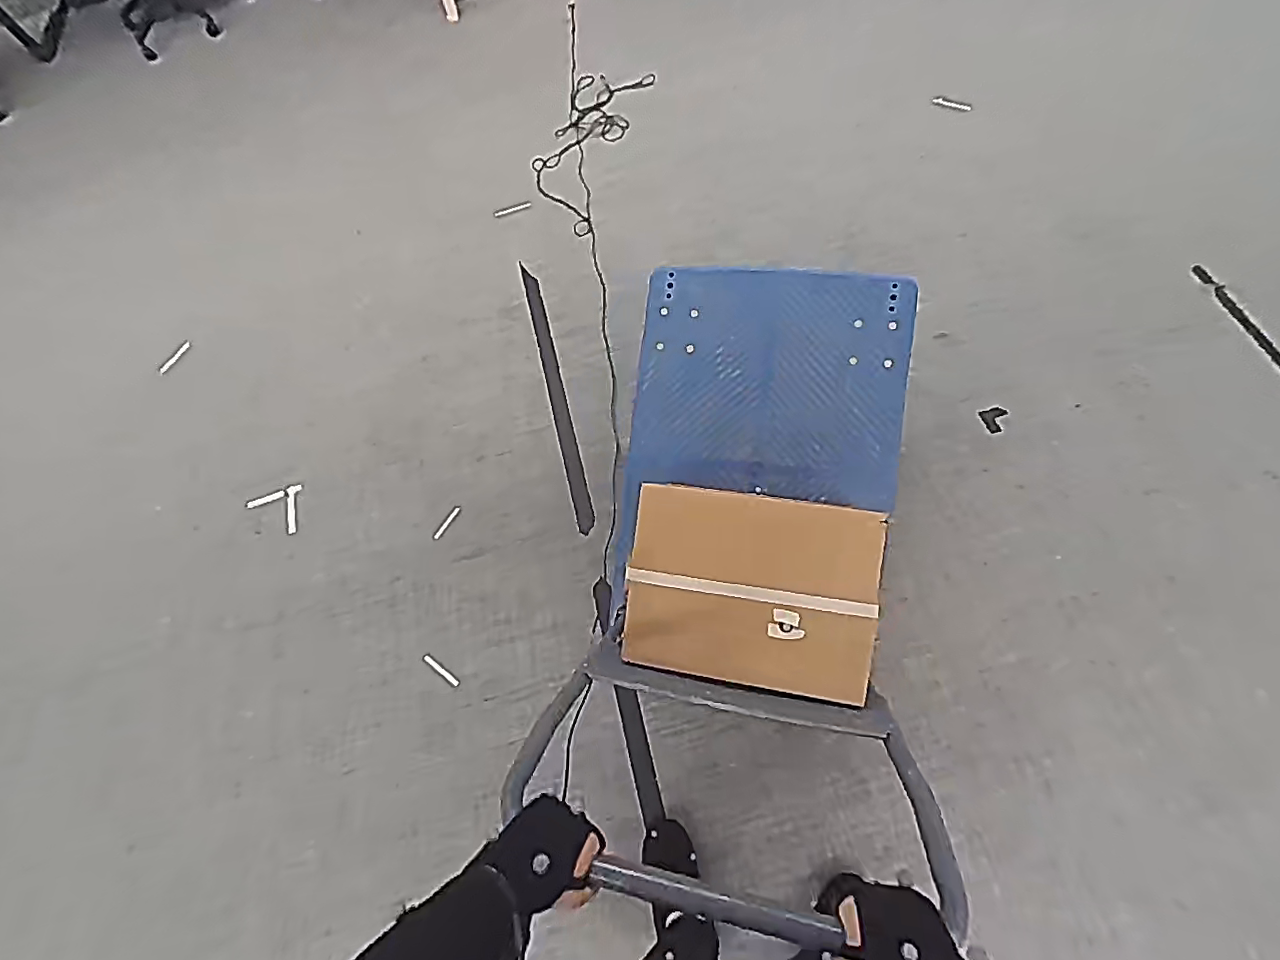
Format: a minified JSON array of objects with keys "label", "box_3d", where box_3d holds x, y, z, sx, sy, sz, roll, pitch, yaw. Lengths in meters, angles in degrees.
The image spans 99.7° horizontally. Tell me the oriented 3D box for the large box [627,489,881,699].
[{"label":"large box","box_3d":[0.209,0.191,1.061,0.408,0.320,0.320,7,91,11]}]
